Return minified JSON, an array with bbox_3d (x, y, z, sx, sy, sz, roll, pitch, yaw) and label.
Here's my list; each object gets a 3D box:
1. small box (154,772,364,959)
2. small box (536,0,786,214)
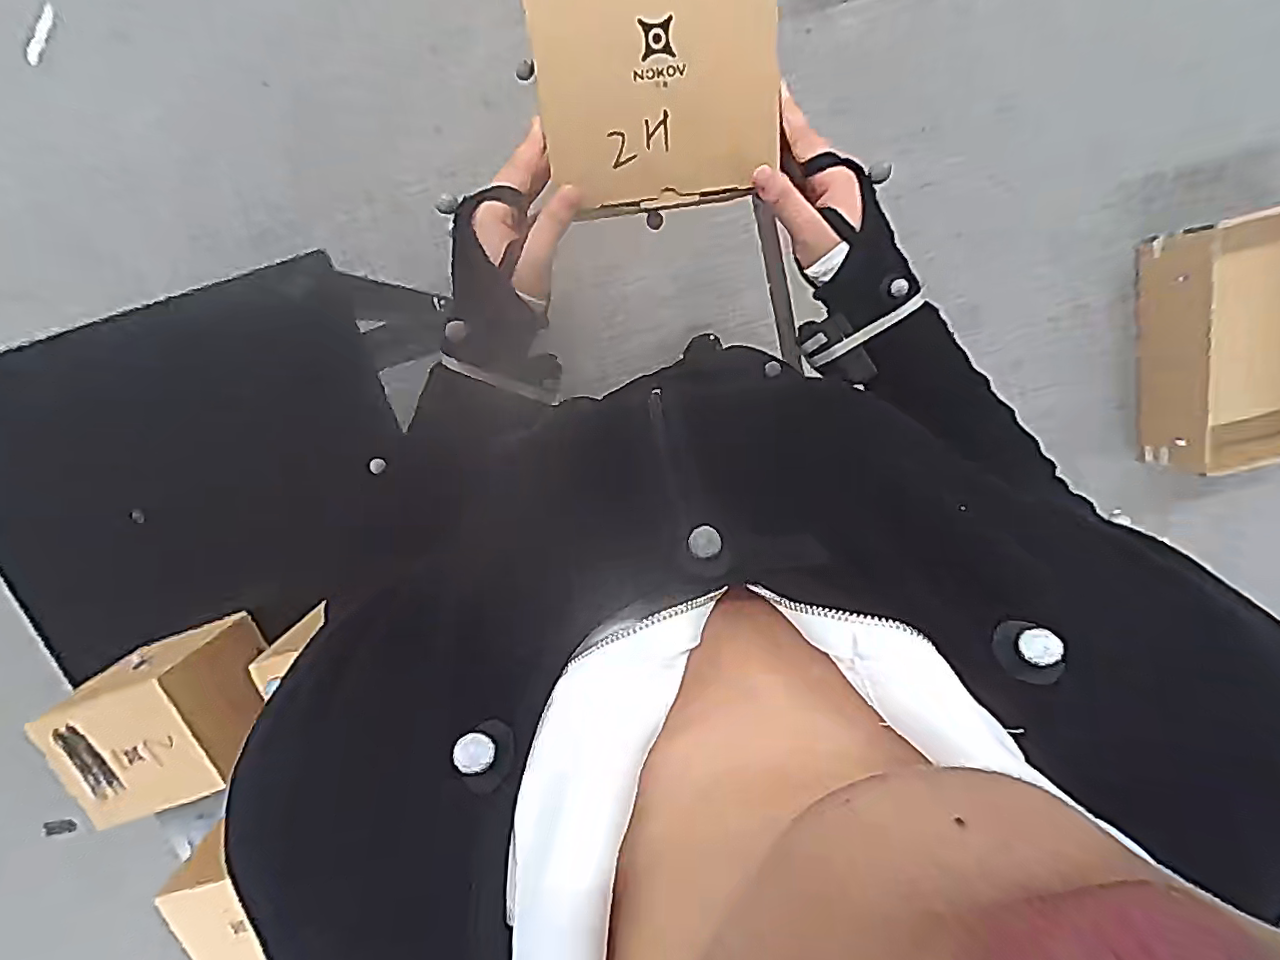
[{"bbox_3d":[-0.531,0.570,0.793,0.179,0.176,0.168,-16,104,1],"label":"small box"},{"bbox_3d":[0.009,-0.320,0.429,0.168,0.176,0.179,-7,114,-1],"label":"small box"}]
